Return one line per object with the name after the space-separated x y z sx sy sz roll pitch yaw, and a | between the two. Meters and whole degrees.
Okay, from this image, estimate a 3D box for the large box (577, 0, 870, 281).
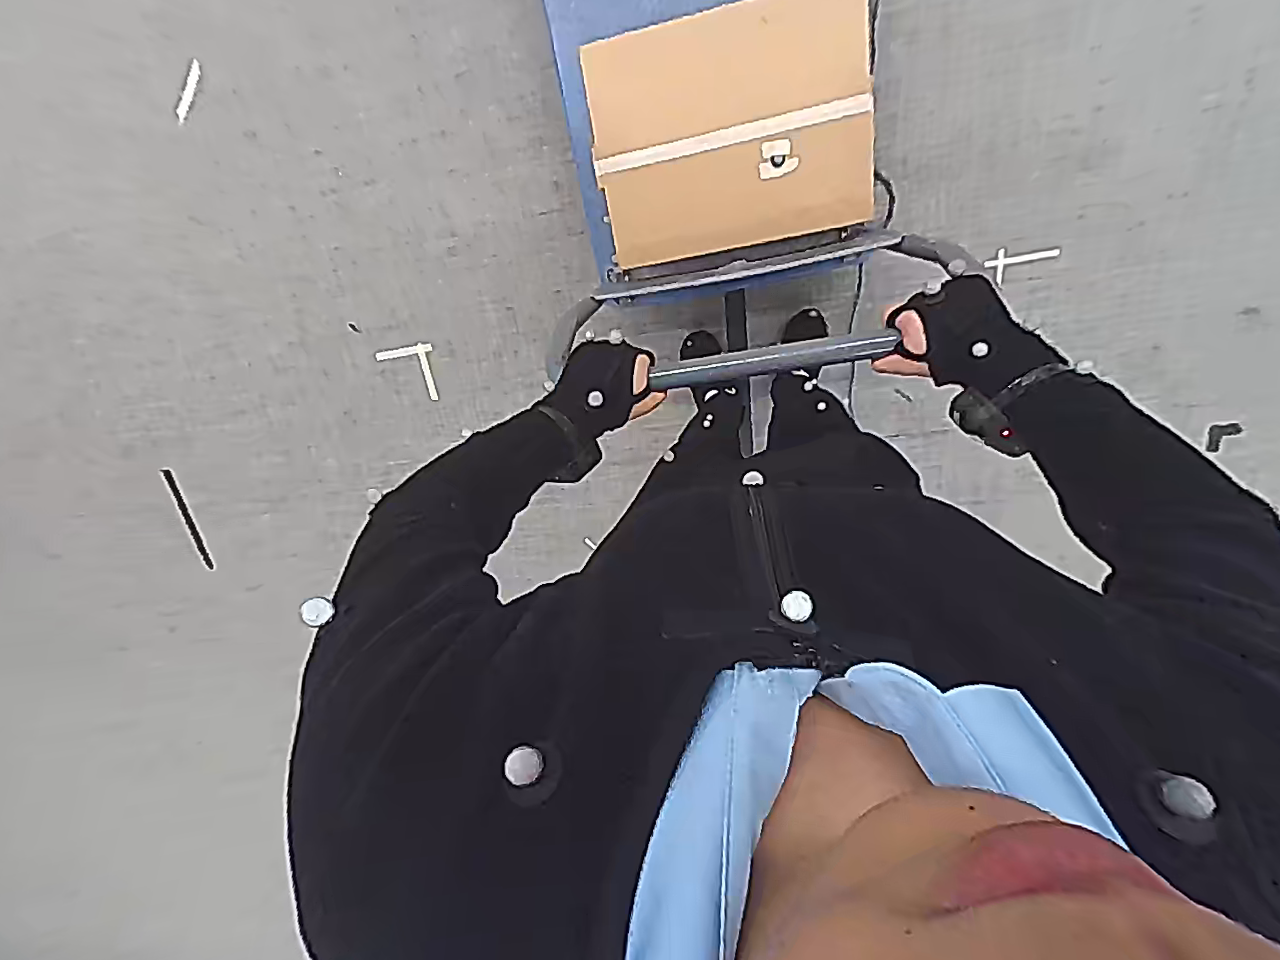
0.144 -0.557 0.943 0.408 0.320 0.320 -8 113 10 | large box
